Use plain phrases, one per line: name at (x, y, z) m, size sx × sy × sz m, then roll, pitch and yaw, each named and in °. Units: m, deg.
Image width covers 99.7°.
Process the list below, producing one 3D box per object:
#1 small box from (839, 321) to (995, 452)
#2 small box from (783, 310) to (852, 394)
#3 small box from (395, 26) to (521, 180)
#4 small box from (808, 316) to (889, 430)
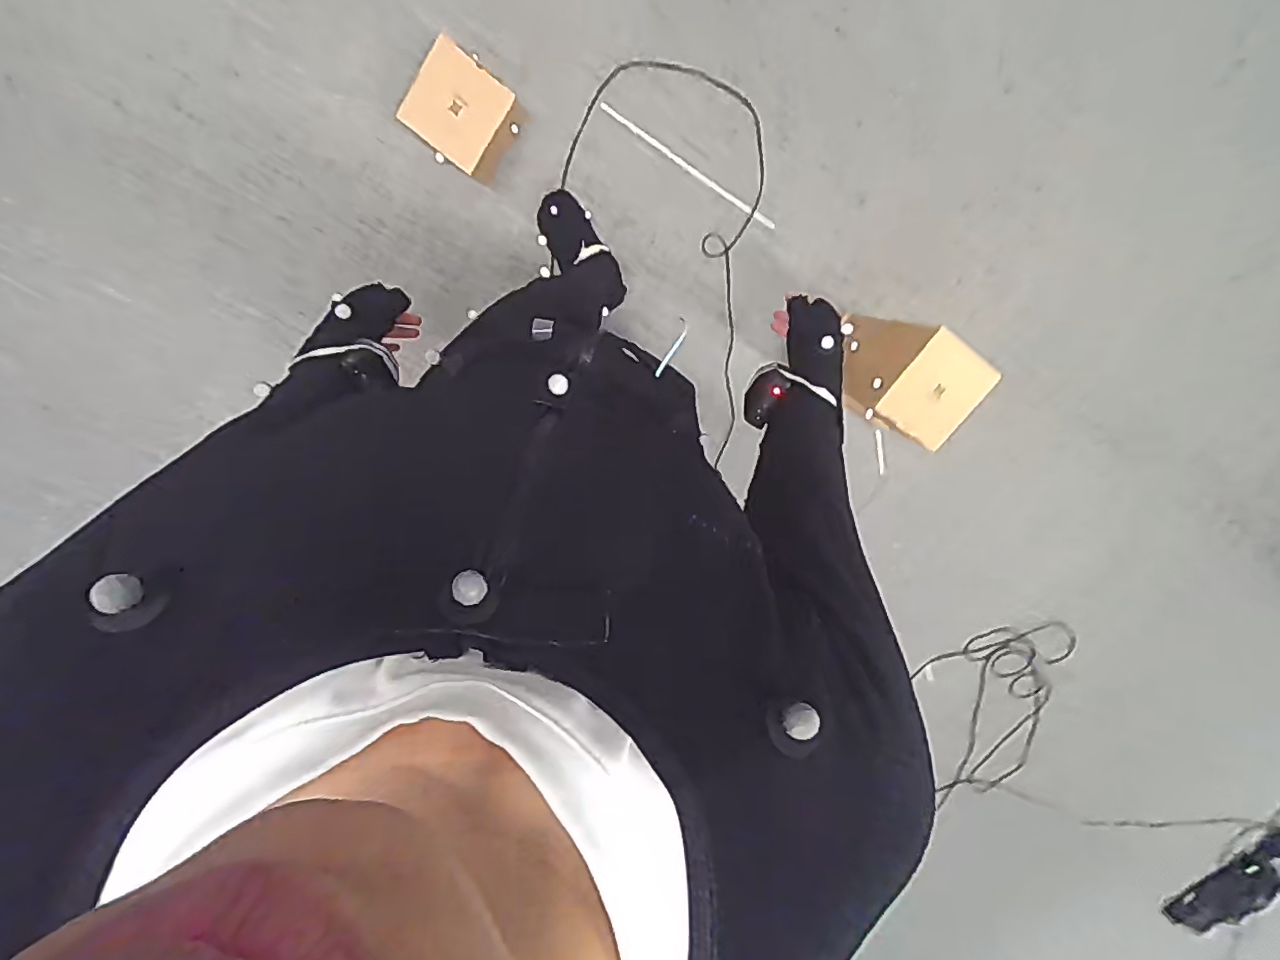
small box at (0.528, -0.191, 1.058) m, size 0.168 × 0.176 × 0.179 m, roll 31°, pitch 107°, yaw -17°
small box at (0.490, -0.312, 1.359) m, size 0.179 × 0.176 × 0.168 m, roll 31°, pitch 107°, yaw -16°
small box at (-0.357, -0.745, 1.094) m, size 0.168 × 0.176 × 0.179 m, roll 35°, pitch 105°, yaw -17°
small box at (0.510, -0.246, 1.210) m, size 0.168 × 0.176 × 0.179 m, roll 31°, pitch 107°, yaw -17°
